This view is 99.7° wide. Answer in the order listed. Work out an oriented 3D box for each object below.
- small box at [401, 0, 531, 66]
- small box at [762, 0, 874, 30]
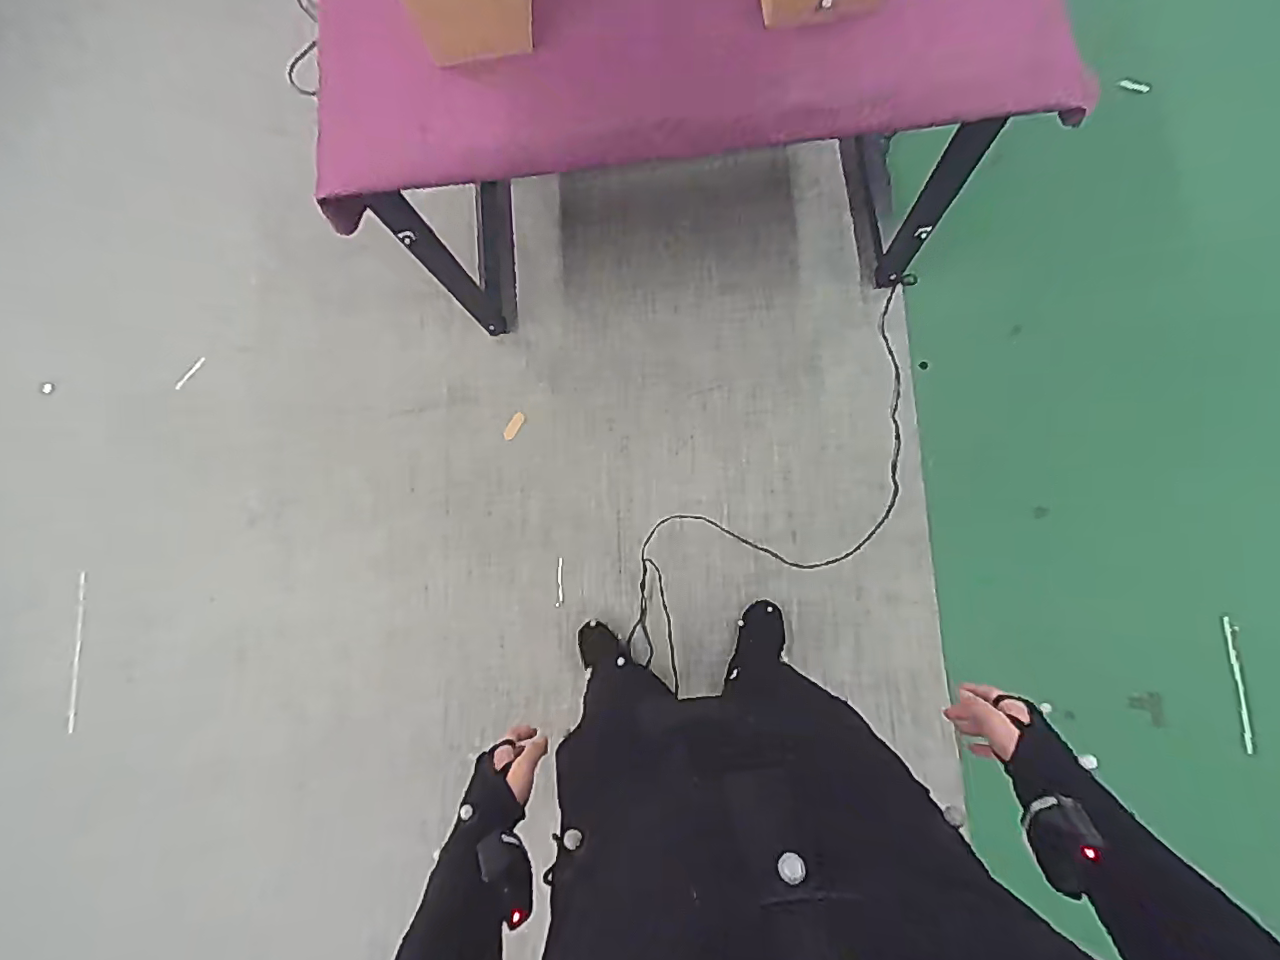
[{"bbox_3d":[-0.276,-0.804,0.854,0.179,0.176,0.168,-4,81,6],"label":"small box"},{"bbox_3d":[0.275,-0.815,0.791,0.179,0.176,0.168,-5,81,6],"label":"small box"}]
